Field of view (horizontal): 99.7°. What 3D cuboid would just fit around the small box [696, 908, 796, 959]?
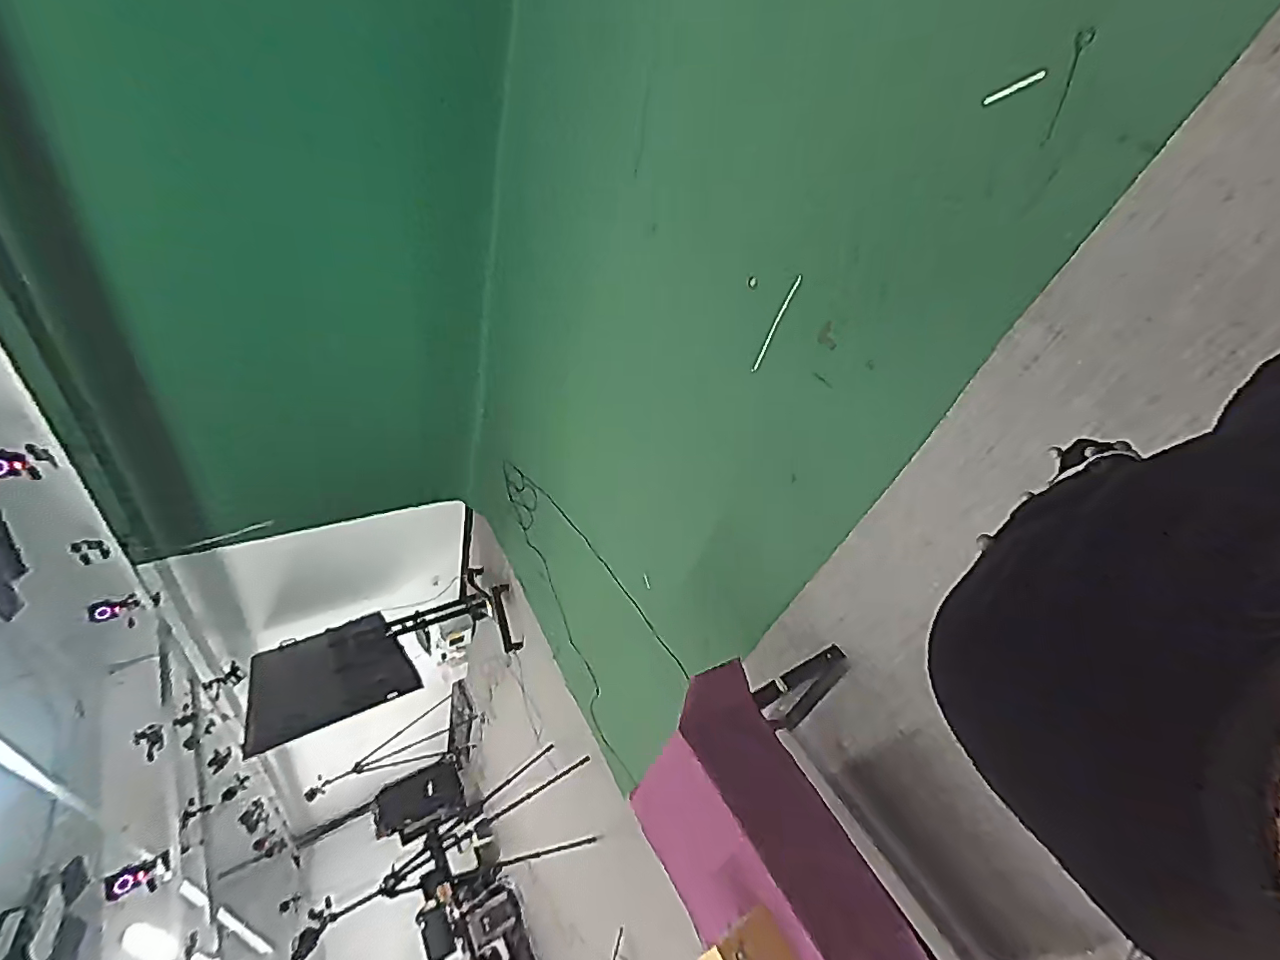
[{"bbox_3d":[0.275,1.216,1.351,0.179,0.176,0.168,51,140,34],"label":"small box"}]
